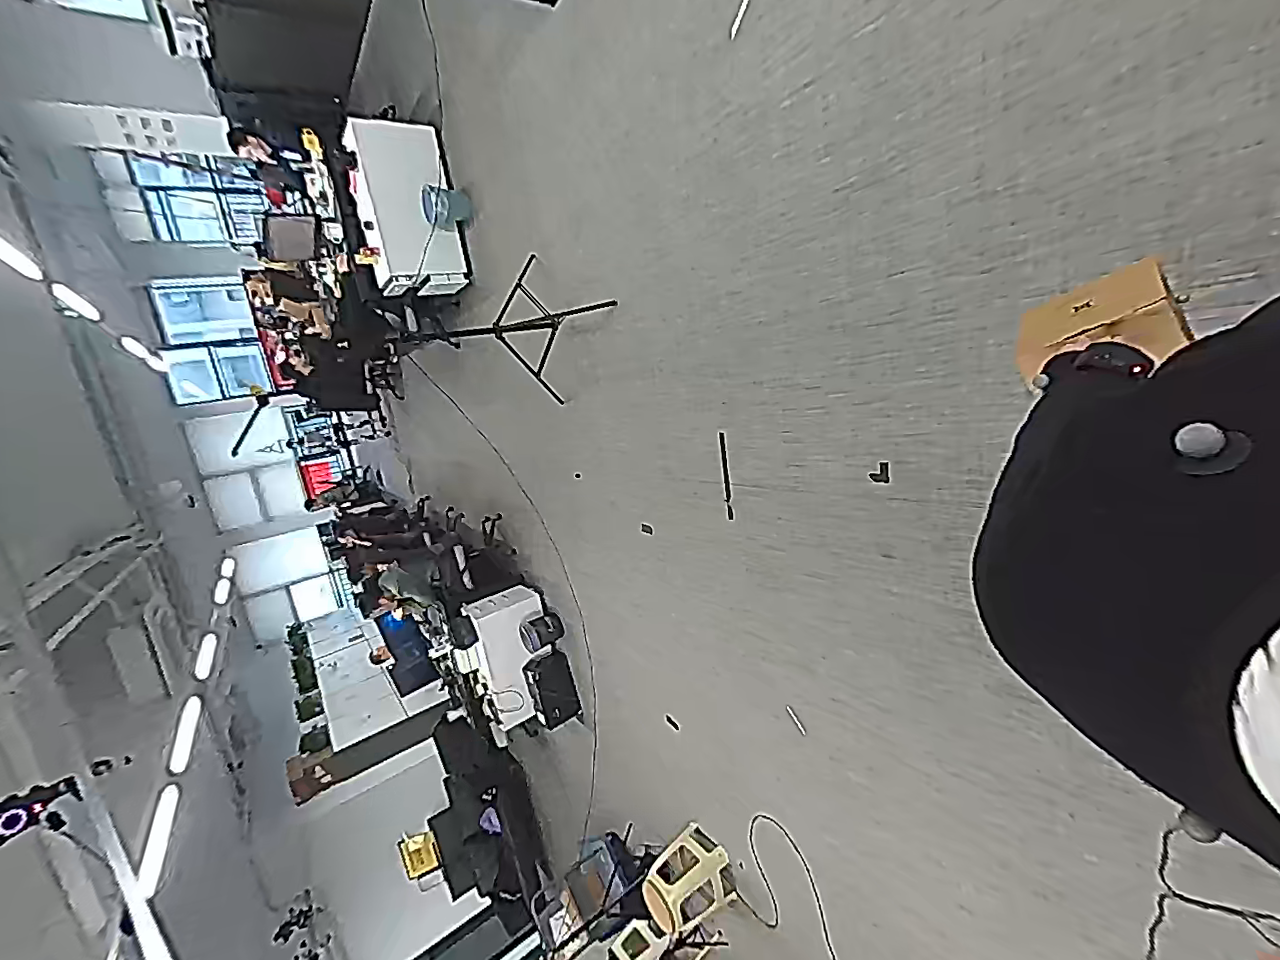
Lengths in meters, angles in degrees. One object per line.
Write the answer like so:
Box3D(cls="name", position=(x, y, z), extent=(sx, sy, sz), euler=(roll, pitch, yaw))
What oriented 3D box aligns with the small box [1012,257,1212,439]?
Box3D(cls="small box", position=(0.667, -0.176, 0.772), extent=(0.168, 0.179, 0.176), euler=(-24, 108, 48))
